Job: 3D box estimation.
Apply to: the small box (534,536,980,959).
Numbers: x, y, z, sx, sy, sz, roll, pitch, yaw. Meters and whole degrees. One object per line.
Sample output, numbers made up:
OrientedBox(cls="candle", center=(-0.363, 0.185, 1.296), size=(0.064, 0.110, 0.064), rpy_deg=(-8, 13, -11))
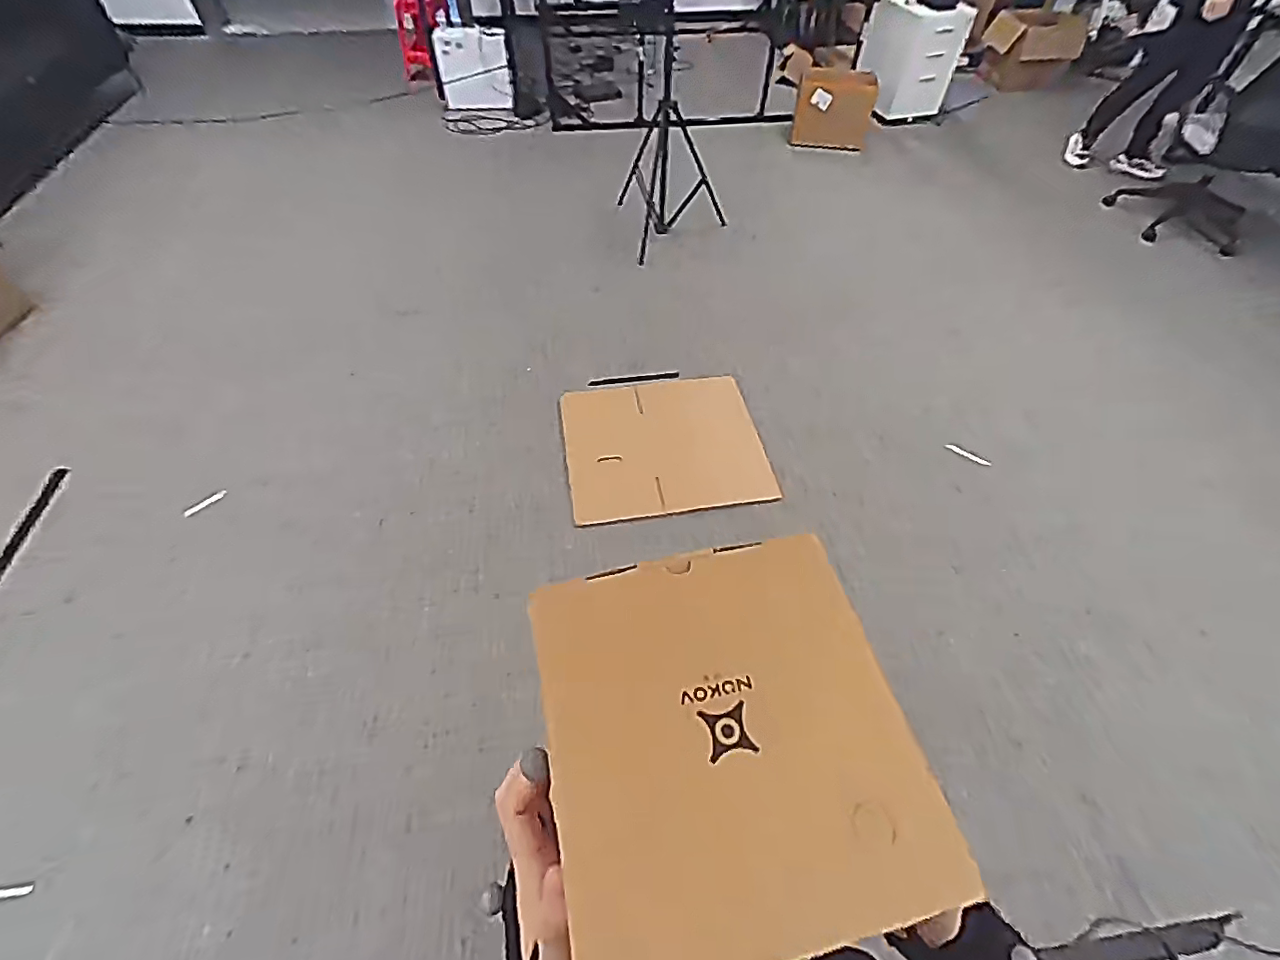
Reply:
OrientedBox(cls="small box", center=(0.039, 0.160, 0.312), size=(0.168, 0.176, 0.179), rpy_deg=(-9, 53, -7))
